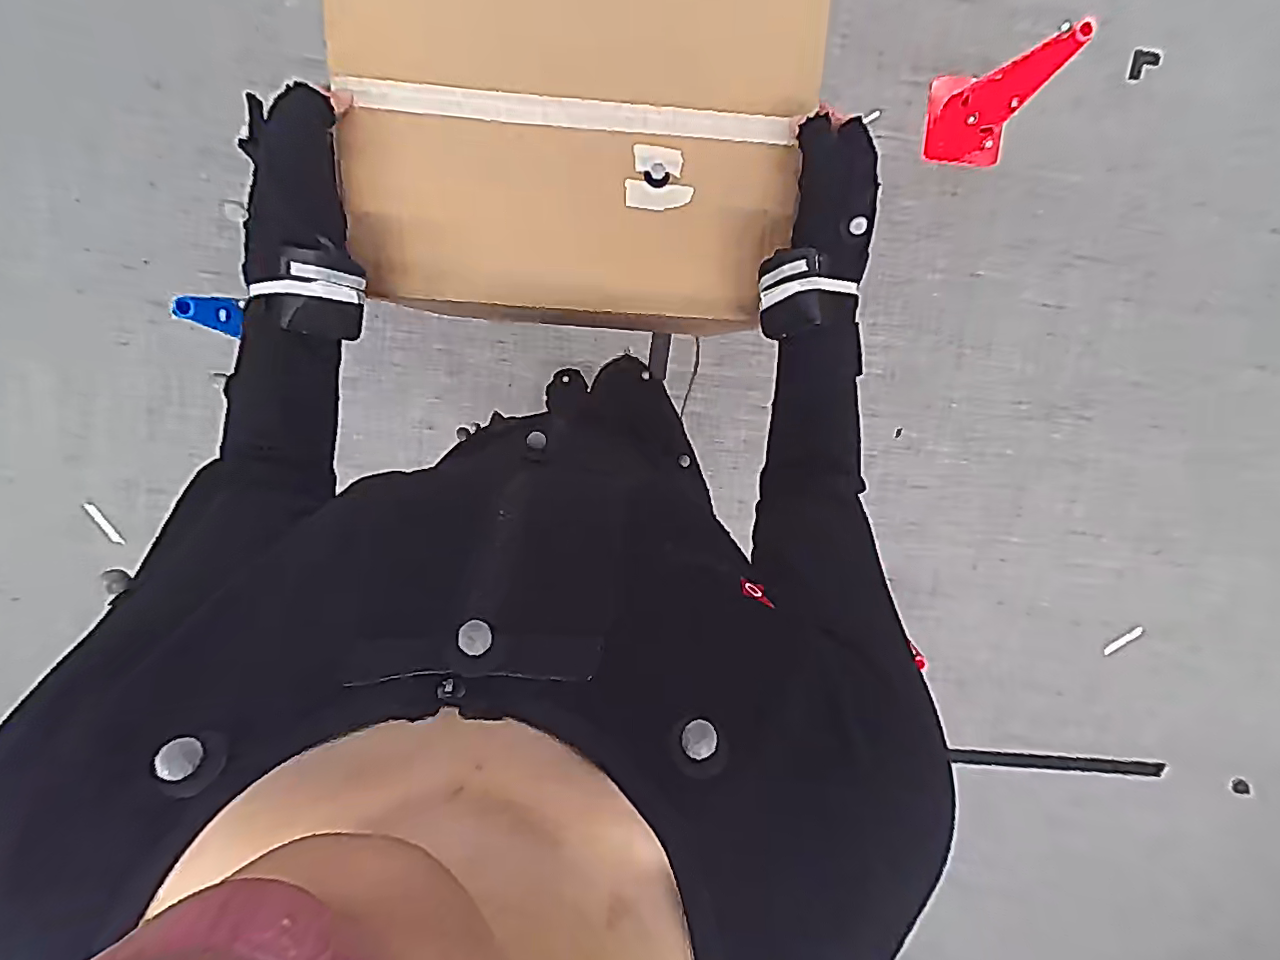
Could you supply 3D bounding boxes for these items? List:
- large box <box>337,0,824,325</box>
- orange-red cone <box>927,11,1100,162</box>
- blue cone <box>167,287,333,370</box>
[{"bbox_3d":[-0.060,-0.350,0.602,0.408,0.320,0.320,2,103,-5],"label":"large box"},{"bbox_3d":[0.834,-0.888,1.186,0.198,0.360,0.199,4,98,-4],"label":"orange-red cone"},{"bbox_3d":[-0.875,-0.357,1.210,0.192,0.380,0.193,9,98,-3],"label":"blue cone"}]
